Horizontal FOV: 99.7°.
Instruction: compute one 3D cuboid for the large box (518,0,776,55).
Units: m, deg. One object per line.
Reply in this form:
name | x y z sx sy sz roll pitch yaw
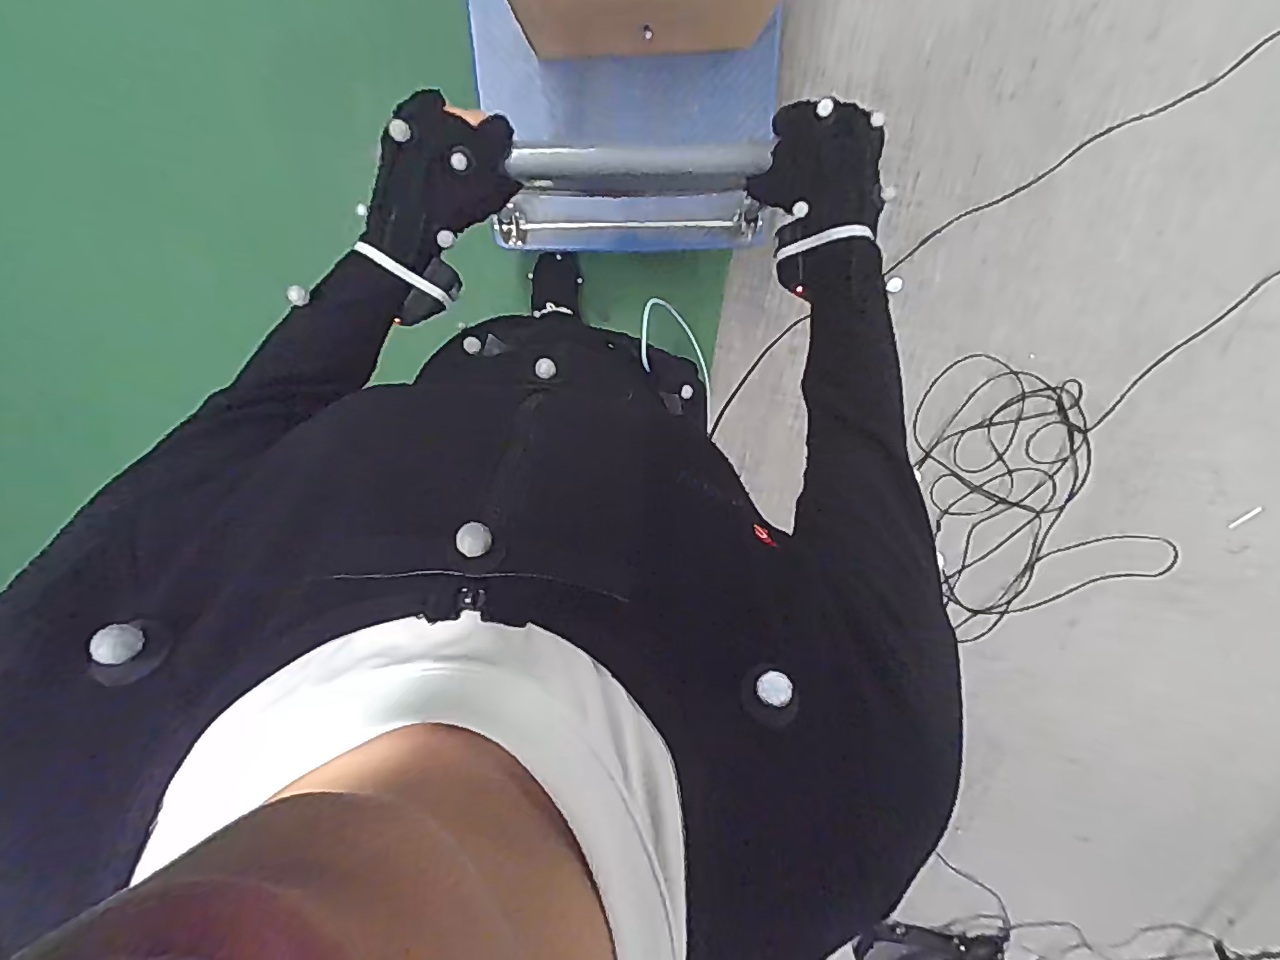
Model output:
large box | 0.011 -0.893 0.823 0.408 0.320 0.320 -3 113 2
